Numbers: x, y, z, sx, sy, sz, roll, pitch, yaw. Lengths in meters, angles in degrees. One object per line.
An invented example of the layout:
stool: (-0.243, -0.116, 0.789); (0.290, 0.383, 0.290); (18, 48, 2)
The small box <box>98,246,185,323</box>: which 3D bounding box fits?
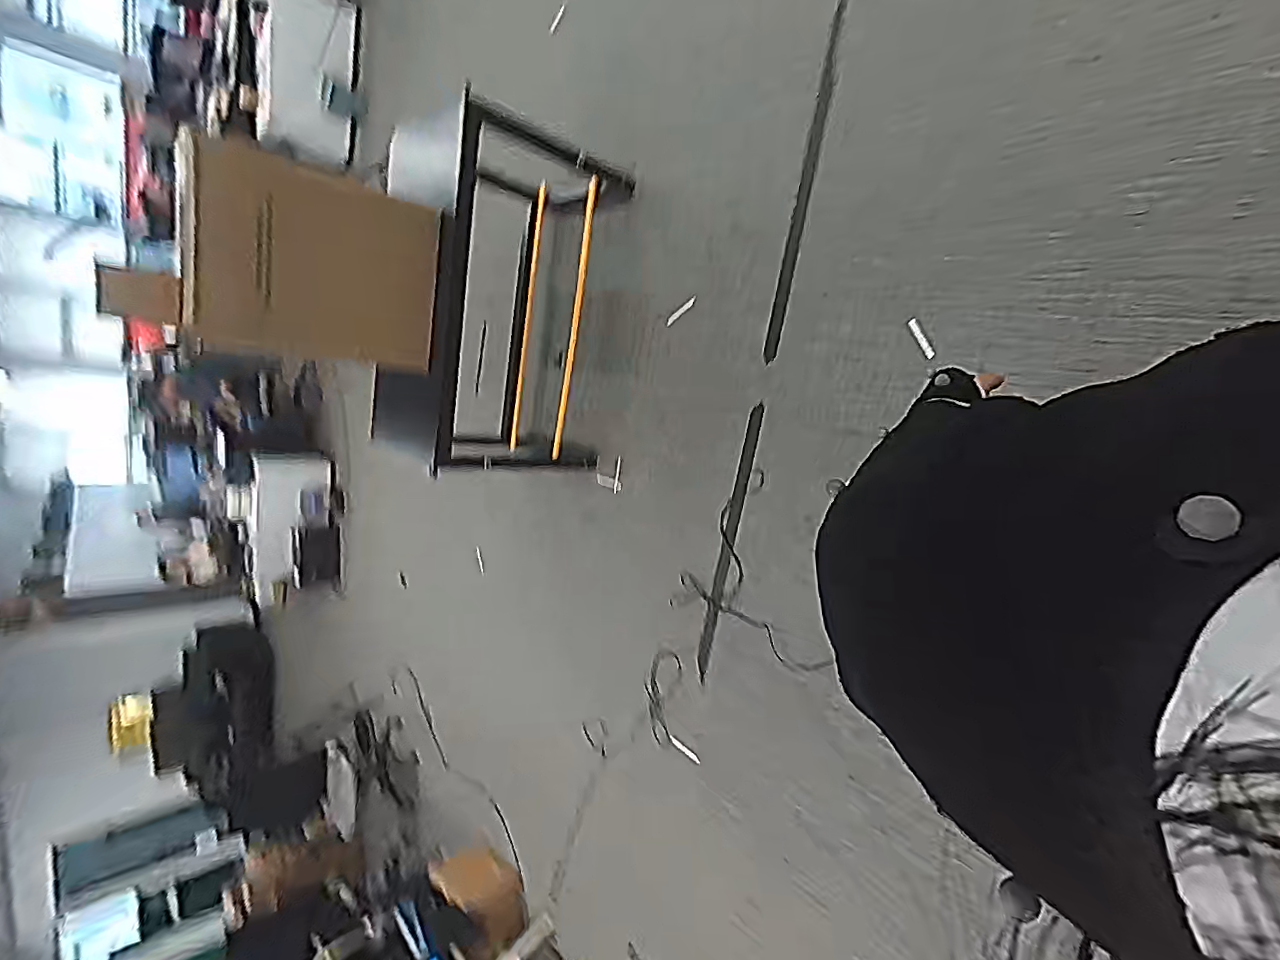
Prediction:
small box: (-1.360, -0.530, 1.479); (0.179, 0.176, 0.168); (20, 105, 44)
